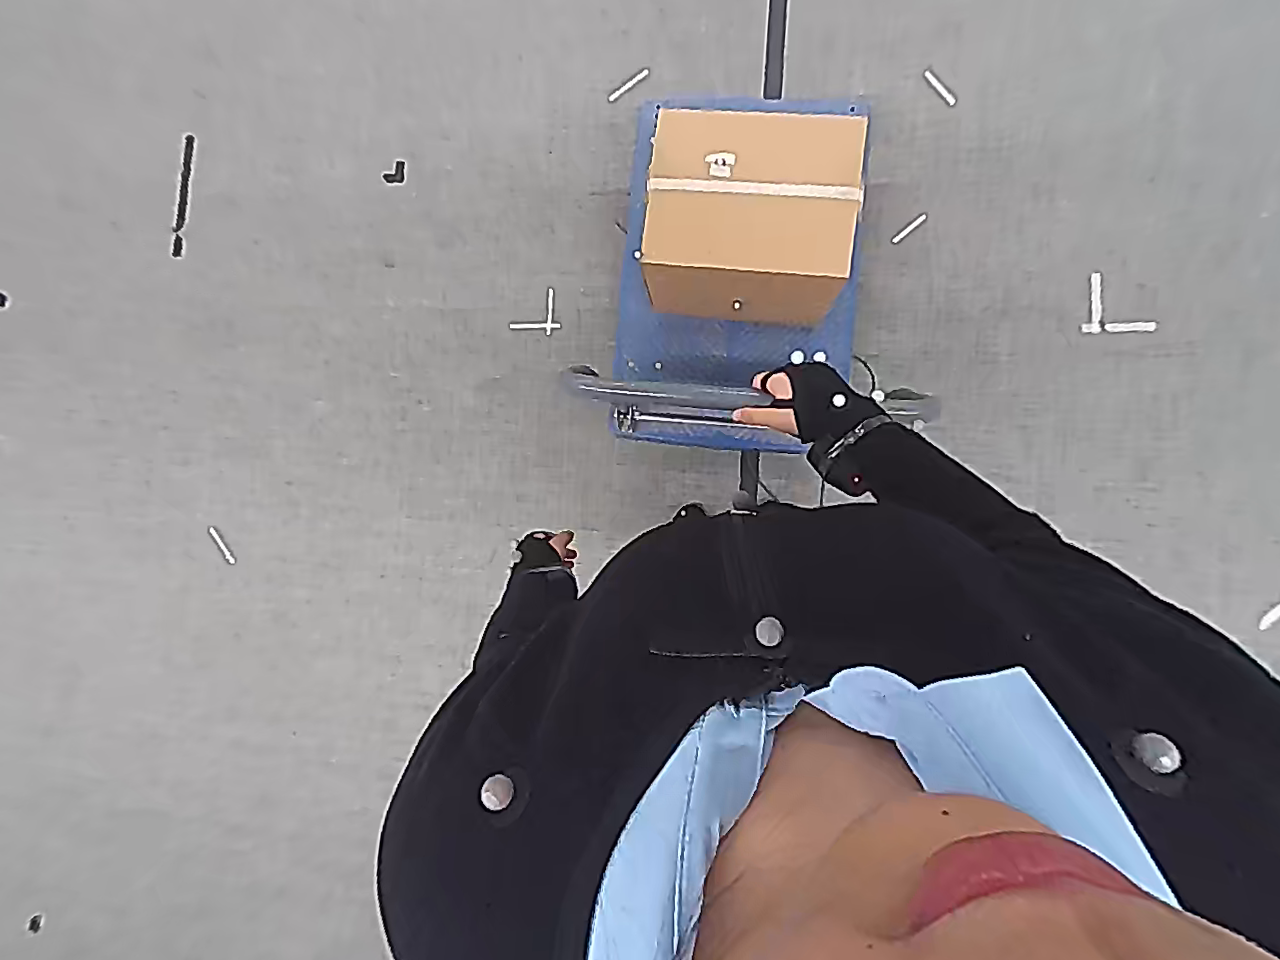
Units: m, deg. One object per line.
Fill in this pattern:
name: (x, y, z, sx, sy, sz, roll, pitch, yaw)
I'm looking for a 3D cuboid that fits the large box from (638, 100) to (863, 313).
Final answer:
large box: (0.229, -0.567, 1.173, 0.408, 0.320, 0.320, 6, 89, 8)
